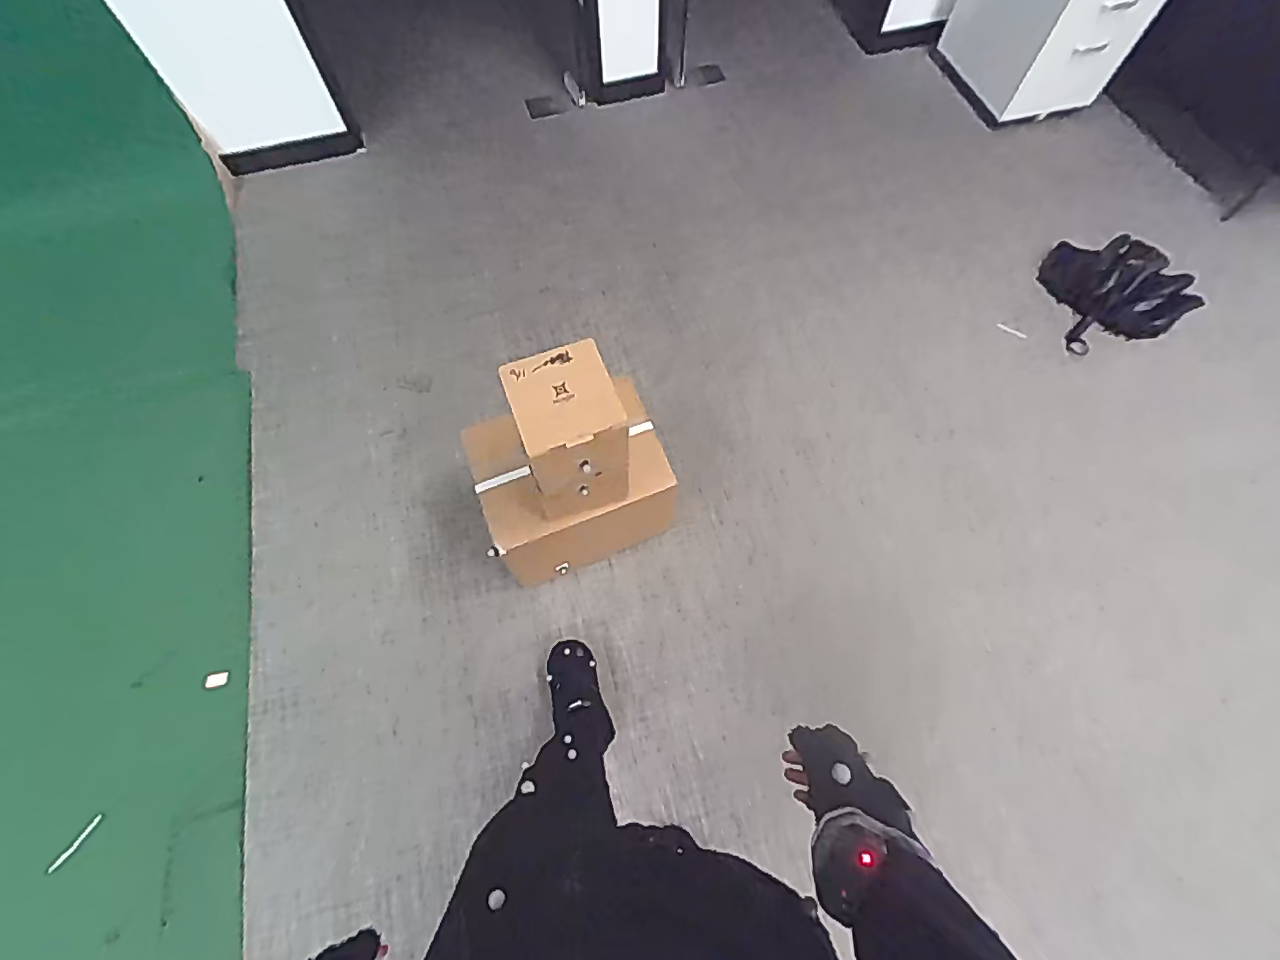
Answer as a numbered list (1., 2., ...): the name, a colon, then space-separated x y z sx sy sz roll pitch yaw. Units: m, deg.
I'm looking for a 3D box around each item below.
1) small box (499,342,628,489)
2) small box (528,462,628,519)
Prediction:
1. small box: -0.123 -0.100 0.928 0.168 0.176 0.179 -19 69 -8
2. small box: -0.128 -0.039 1.080 0.179 0.176 0.168 -17 69 -9
